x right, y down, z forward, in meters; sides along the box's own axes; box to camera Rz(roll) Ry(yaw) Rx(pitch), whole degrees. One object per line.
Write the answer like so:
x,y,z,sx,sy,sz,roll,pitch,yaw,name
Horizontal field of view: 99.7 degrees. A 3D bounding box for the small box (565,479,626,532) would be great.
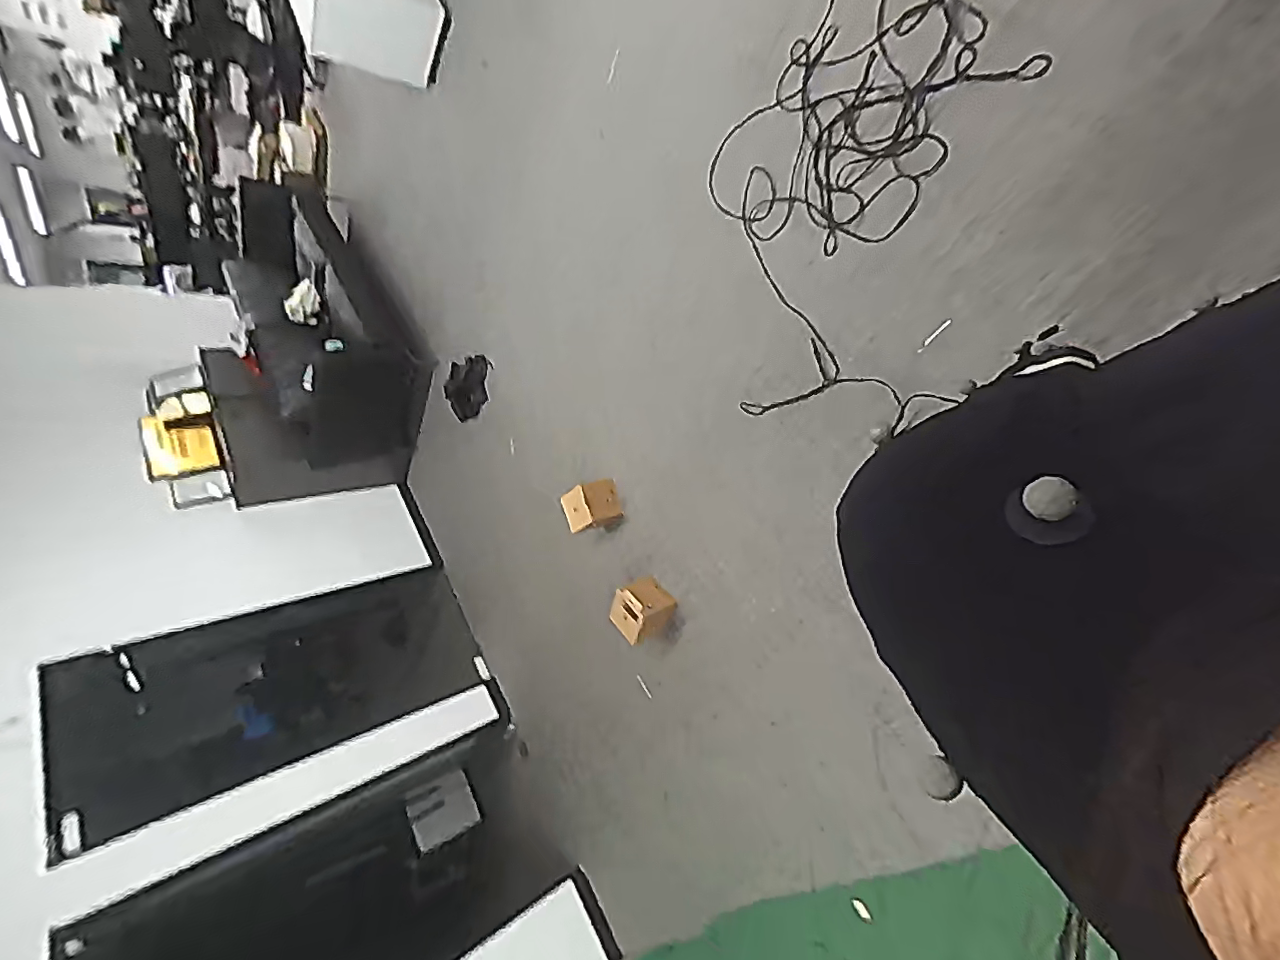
-0.189,0.108,2.294,0.179,0.176,0.168,-34,72,47,small box
